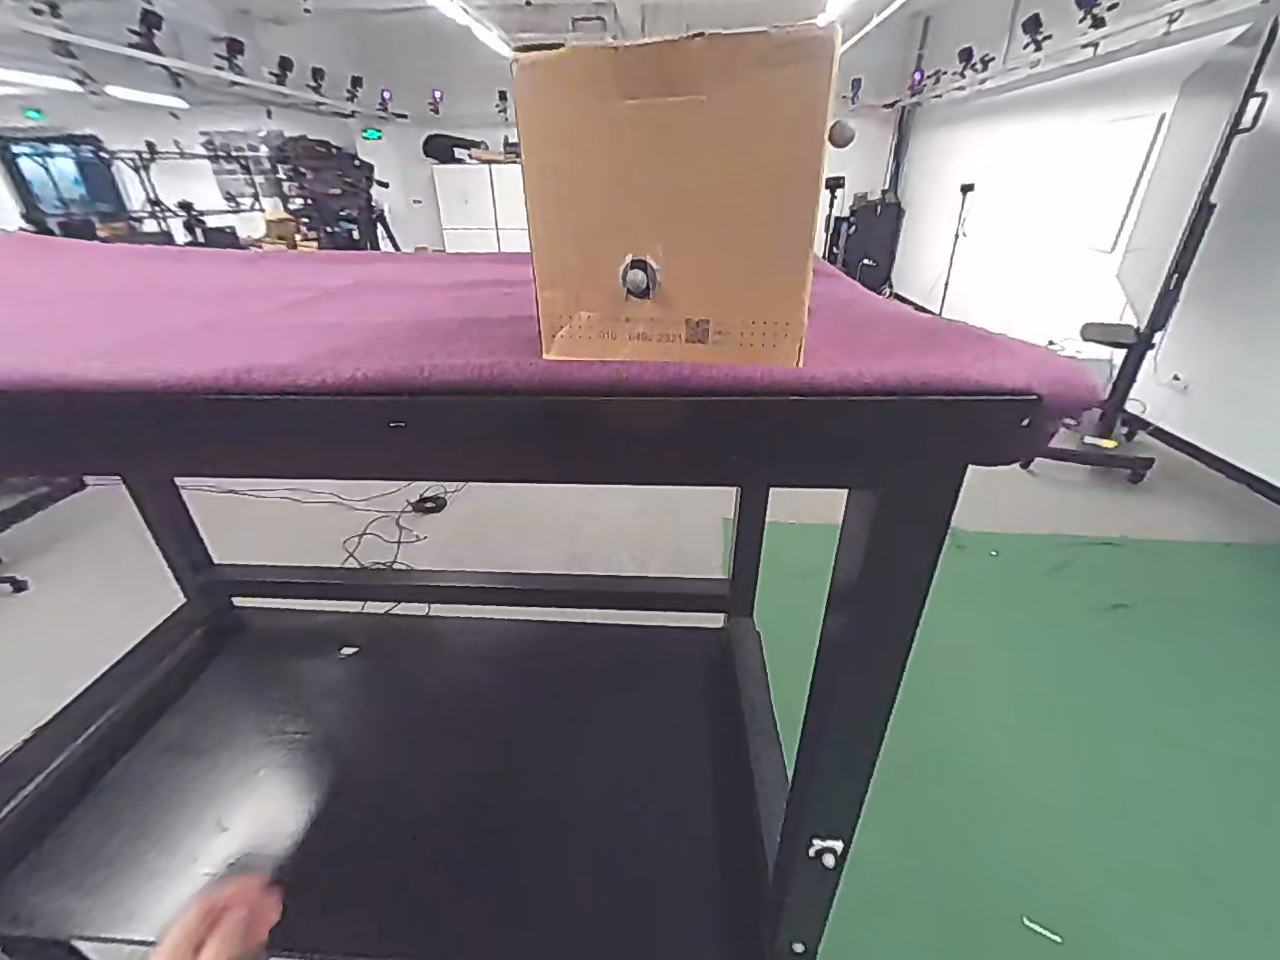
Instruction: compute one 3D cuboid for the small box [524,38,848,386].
[{"bbox_3d":[0.037,-0.177,0.371,0.168,0.176,0.179,6,31,13],"label":"small box"}]
